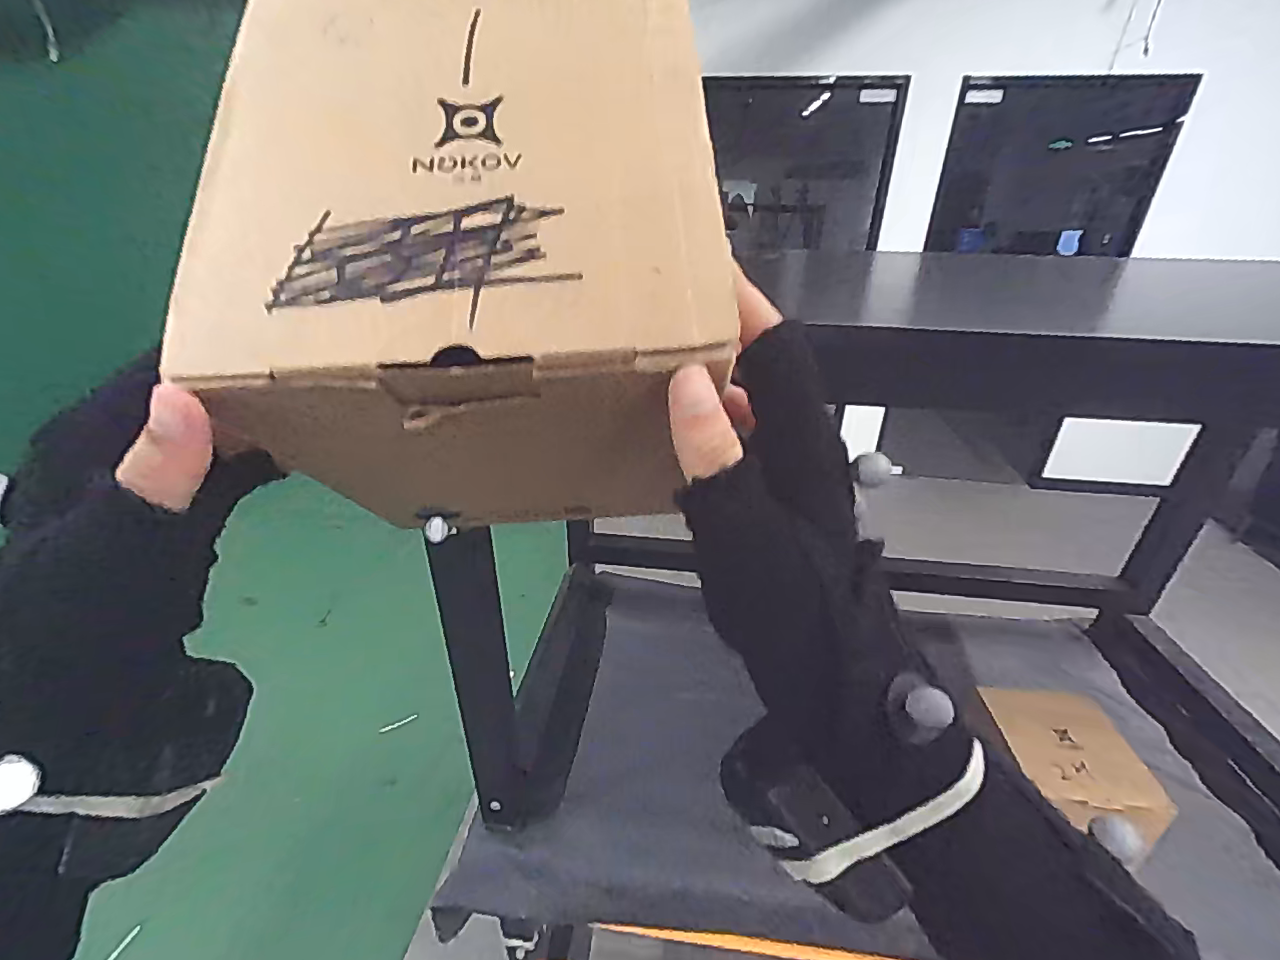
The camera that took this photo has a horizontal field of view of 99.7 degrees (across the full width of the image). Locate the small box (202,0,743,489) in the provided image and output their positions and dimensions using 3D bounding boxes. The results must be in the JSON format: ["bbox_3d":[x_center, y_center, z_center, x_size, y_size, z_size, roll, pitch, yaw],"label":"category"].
[{"bbox_3d":[-0.054,-0.100,0.264,0.168,0.176,0.179,-3,69,-2],"label":"small box"}]

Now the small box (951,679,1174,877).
[{"bbox_3d":[0.577,0.418,0.772,0.168,0.176,0.179,3,26,6],"label":"small box"}]
